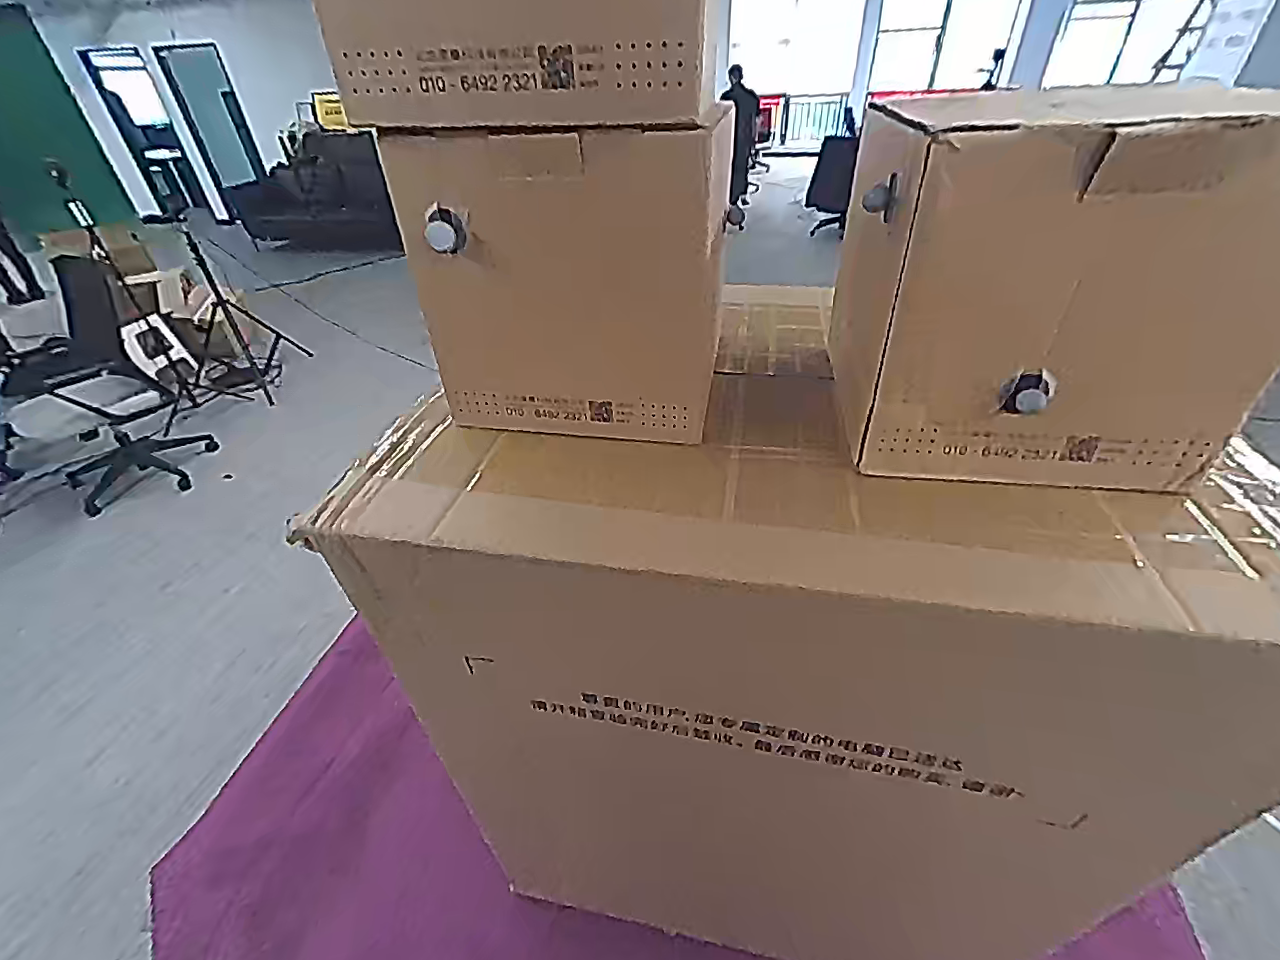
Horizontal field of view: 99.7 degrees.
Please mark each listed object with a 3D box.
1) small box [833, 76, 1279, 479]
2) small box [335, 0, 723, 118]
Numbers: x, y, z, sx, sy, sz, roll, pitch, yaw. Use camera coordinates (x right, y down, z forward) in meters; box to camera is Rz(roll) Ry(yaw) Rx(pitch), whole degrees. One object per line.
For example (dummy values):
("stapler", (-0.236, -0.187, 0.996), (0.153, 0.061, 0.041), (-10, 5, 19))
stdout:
("small box", (0.214, -0.121, 0.310), (0.168, 0.176, 0.179), (3, 38, 10))
("small box", (-0.043, -0.278, 0.259), (0.168, 0.176, 0.179), (4, 37, 7))
